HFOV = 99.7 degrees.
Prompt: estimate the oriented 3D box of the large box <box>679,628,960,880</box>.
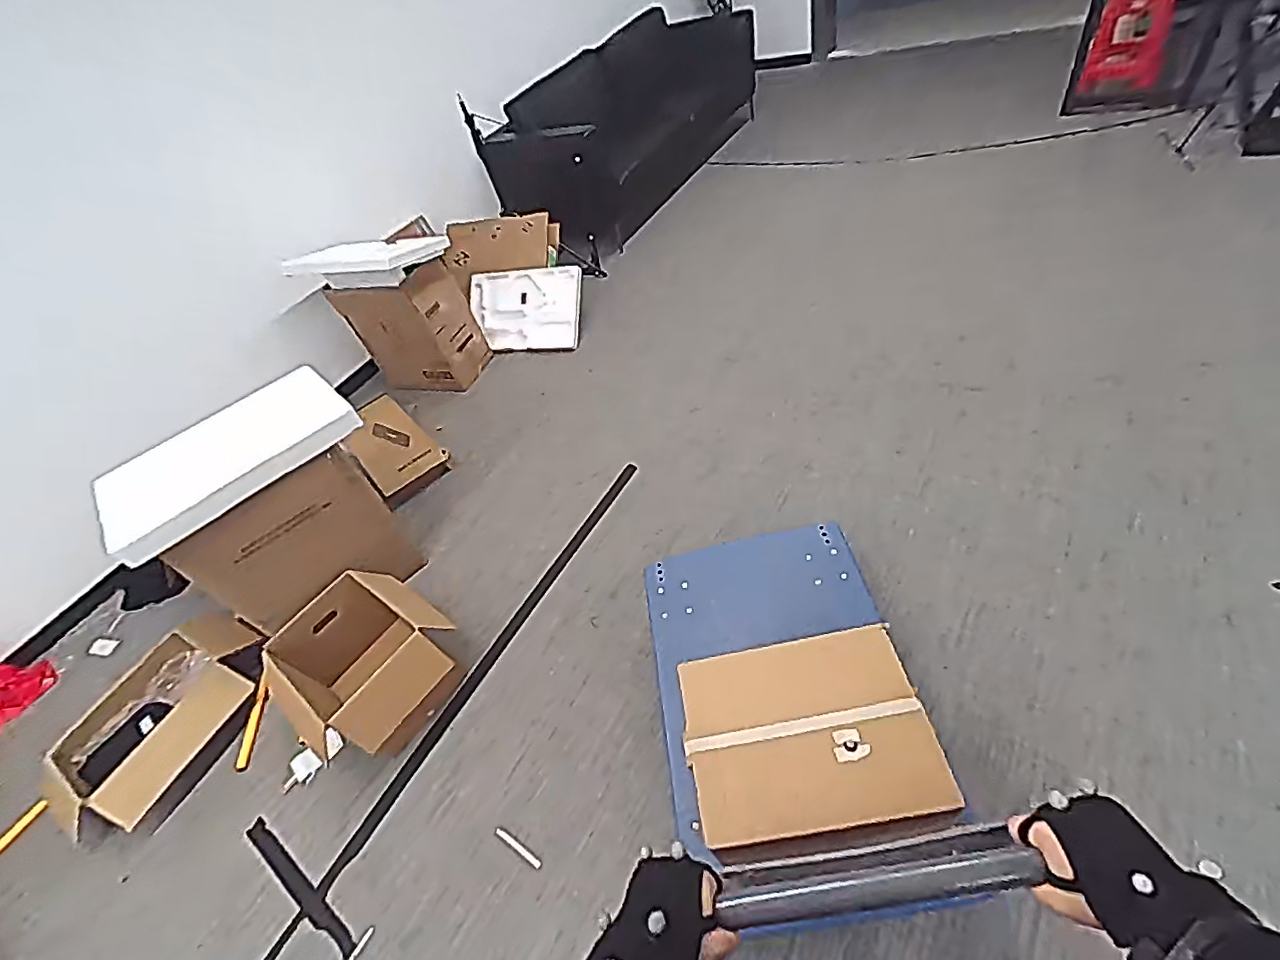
[{"bbox_3d":[0.316,0.537,1.050,0.408,0.320,0.320,-13,46,5],"label":"large box"}]
